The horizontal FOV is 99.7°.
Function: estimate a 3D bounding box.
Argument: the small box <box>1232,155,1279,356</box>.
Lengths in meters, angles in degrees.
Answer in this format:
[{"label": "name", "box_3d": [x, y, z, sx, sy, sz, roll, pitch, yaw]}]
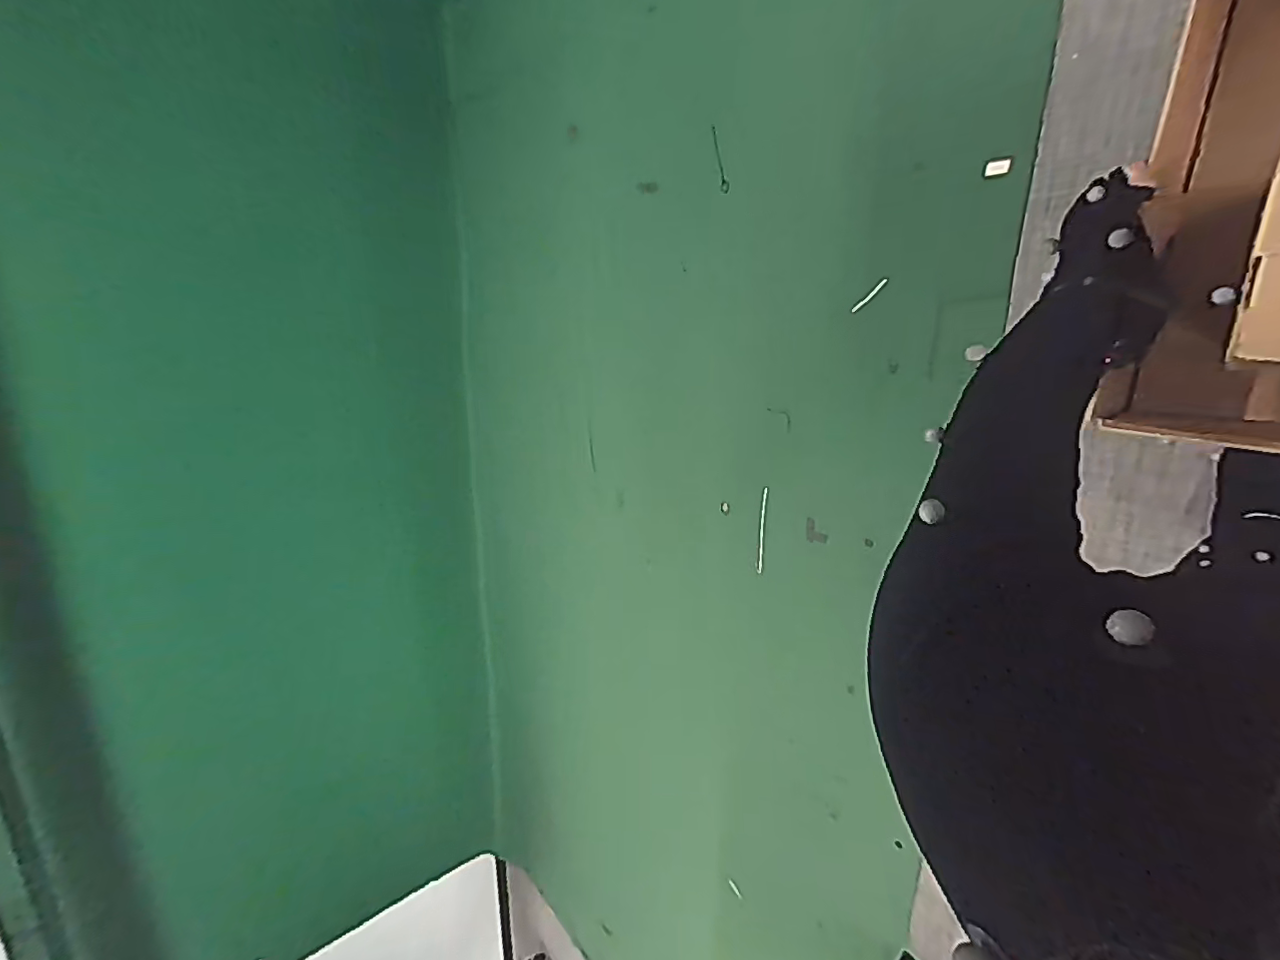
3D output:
[{"label": "small box", "box_3d": [0.481, -0.154, 0.305, 0.179, 0.176, 0.168, 15, 109, 44]}]
